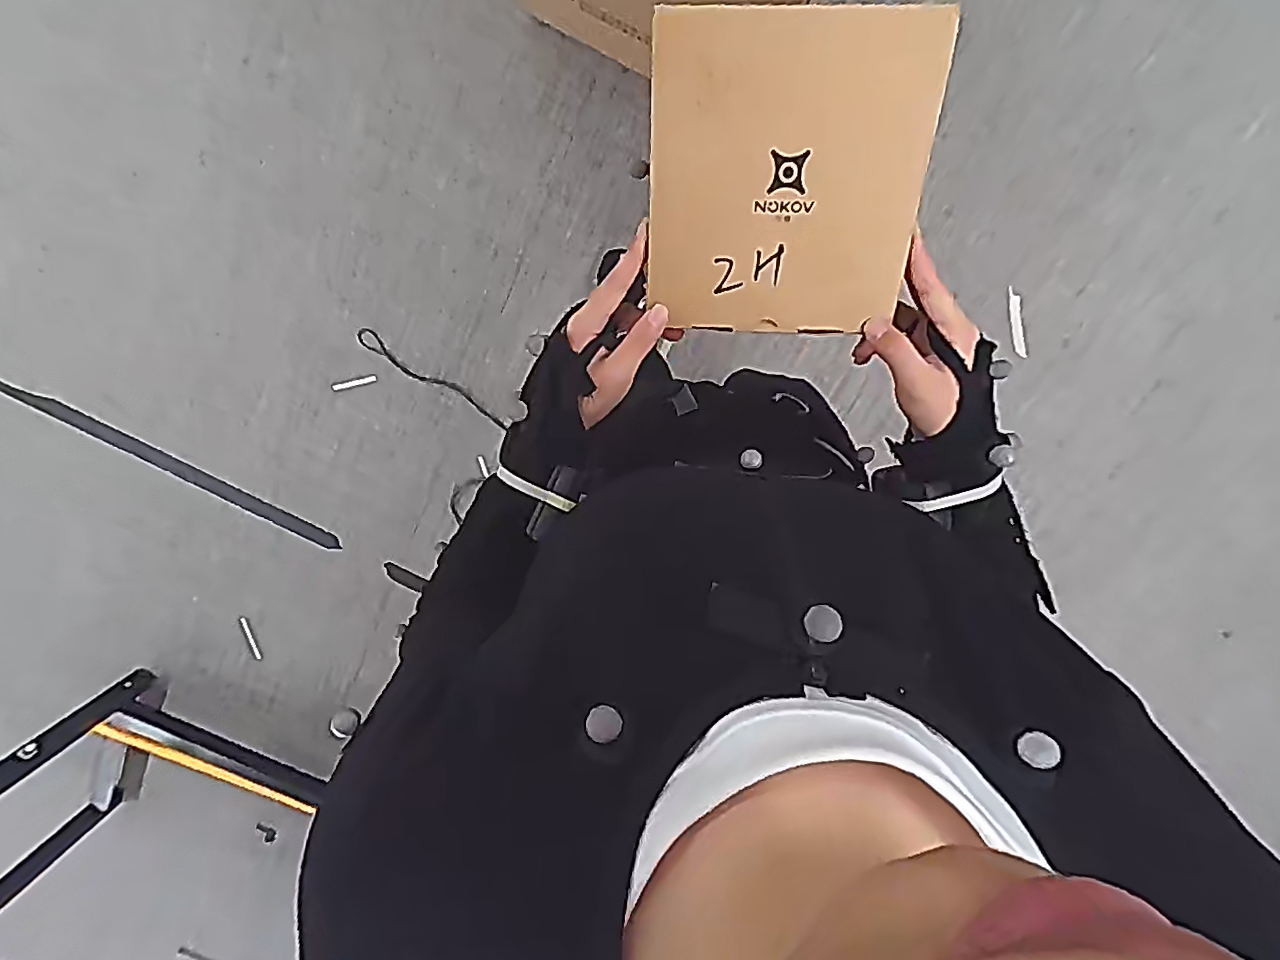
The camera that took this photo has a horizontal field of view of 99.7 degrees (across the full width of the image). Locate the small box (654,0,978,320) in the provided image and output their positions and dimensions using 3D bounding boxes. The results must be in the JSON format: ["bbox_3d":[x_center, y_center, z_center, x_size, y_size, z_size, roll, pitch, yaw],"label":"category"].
[{"bbox_3d":[0.097,-0.222,0.389,0.168,0.176,0.179,3,117,3],"label":"small box"}]
